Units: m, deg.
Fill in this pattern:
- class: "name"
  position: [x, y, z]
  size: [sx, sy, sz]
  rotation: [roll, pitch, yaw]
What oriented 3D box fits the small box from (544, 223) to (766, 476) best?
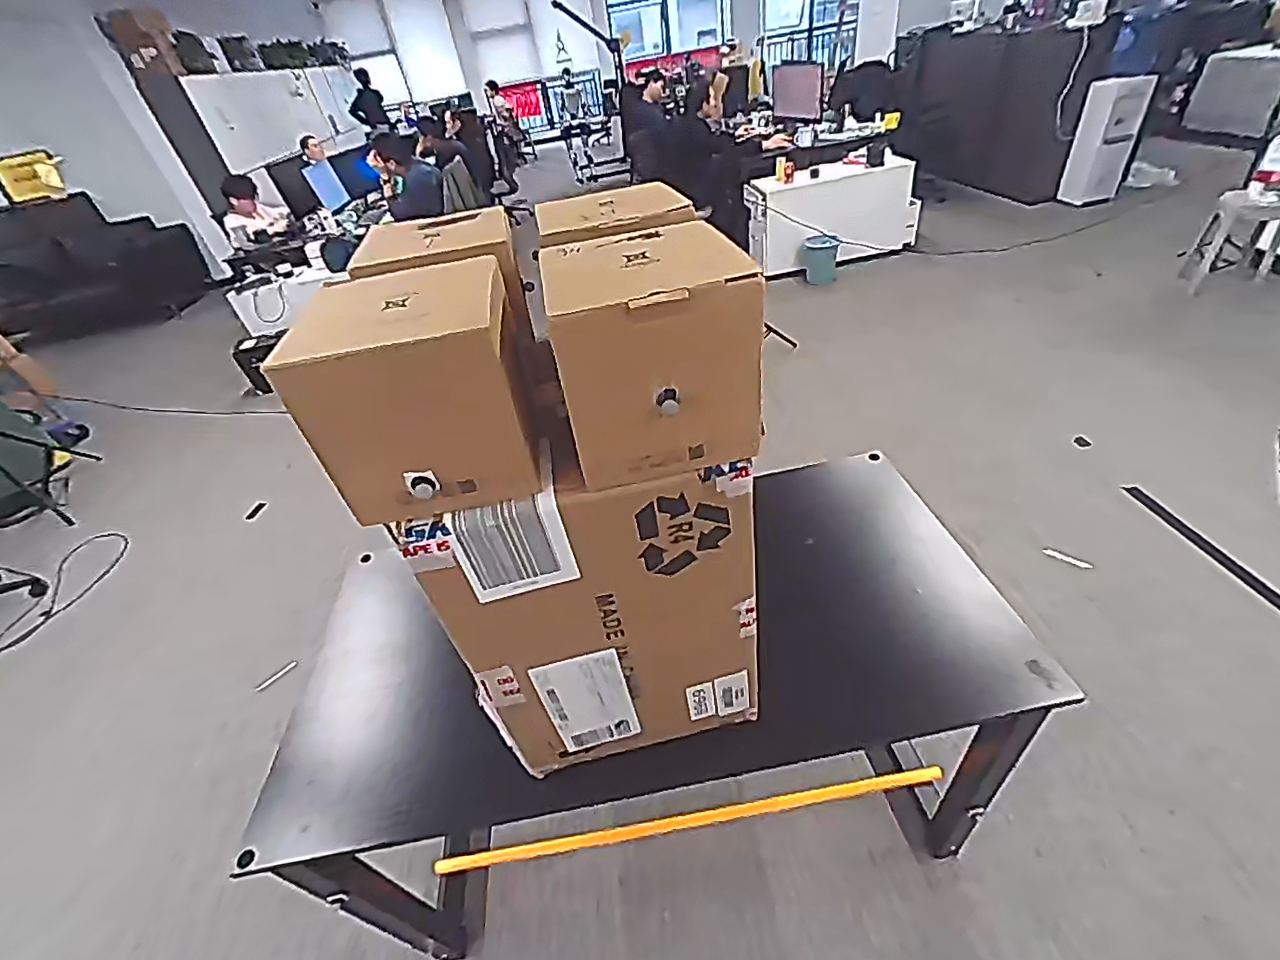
- class: "small box"
  position: [0.010, -0.119, 0.507]
  size: [0.168, 0.176, 0.179]
  rotation: [-11, 40, -4]
